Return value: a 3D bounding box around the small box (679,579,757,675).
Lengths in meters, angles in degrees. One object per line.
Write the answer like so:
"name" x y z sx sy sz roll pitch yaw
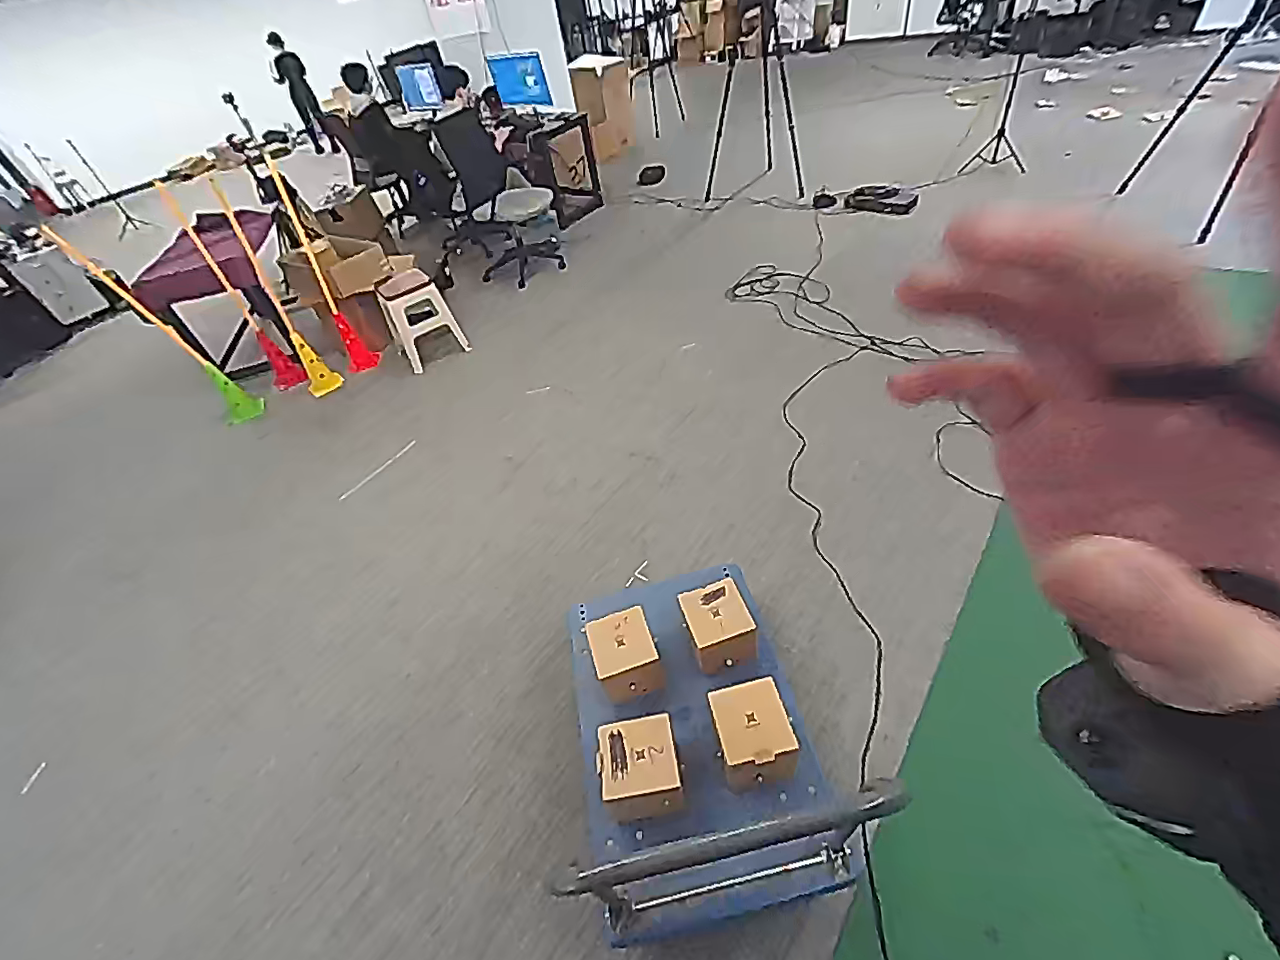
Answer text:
"small box" 0.218 0.413 1.518 0.168 0.176 0.179 -17 45 -5

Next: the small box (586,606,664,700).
"small box" -0.040 0.485 1.499 0.168 0.176 0.179 -17 44 -6

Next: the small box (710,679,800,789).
"small box" 0.270 0.614 1.307 0.168 0.176 0.179 -13 45 -2
